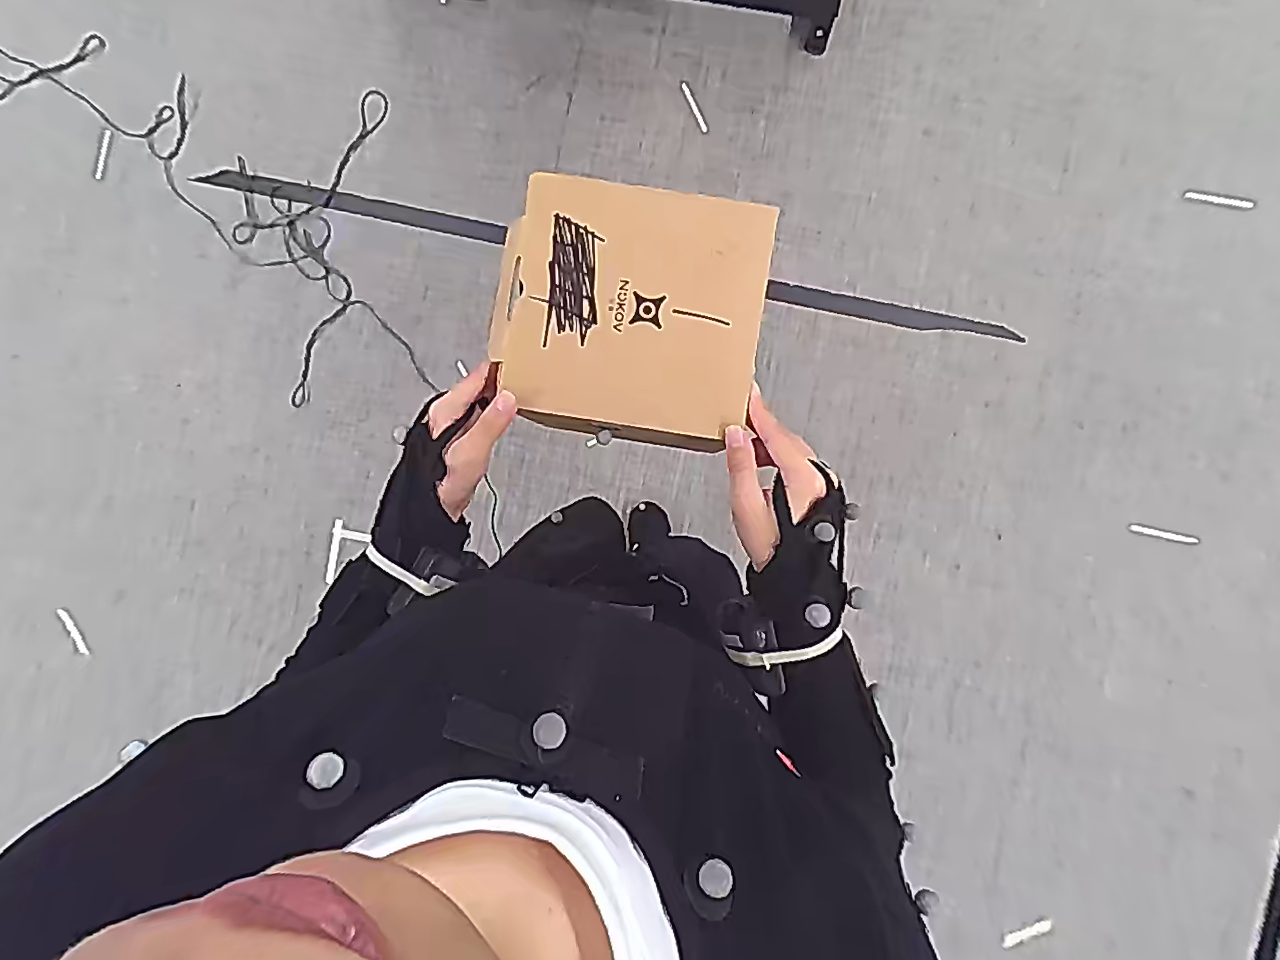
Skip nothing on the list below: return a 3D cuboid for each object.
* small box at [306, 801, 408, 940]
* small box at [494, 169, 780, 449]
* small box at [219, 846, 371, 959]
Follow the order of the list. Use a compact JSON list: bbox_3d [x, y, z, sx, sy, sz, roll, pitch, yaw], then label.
[{"bbox_3d":[-0.662,0.886,1.245,0.168,0.176,0.179,16,91,4],"label":"small box"},{"bbox_3d":[-0.001,-0.120,0.448,0.179,0.176,0.168,9,91,1],"label":"small box"},{"bbox_3d":[-0.684,0.882,1.083,0.179,0.176,0.168,19,90,3],"label":"small box"}]
